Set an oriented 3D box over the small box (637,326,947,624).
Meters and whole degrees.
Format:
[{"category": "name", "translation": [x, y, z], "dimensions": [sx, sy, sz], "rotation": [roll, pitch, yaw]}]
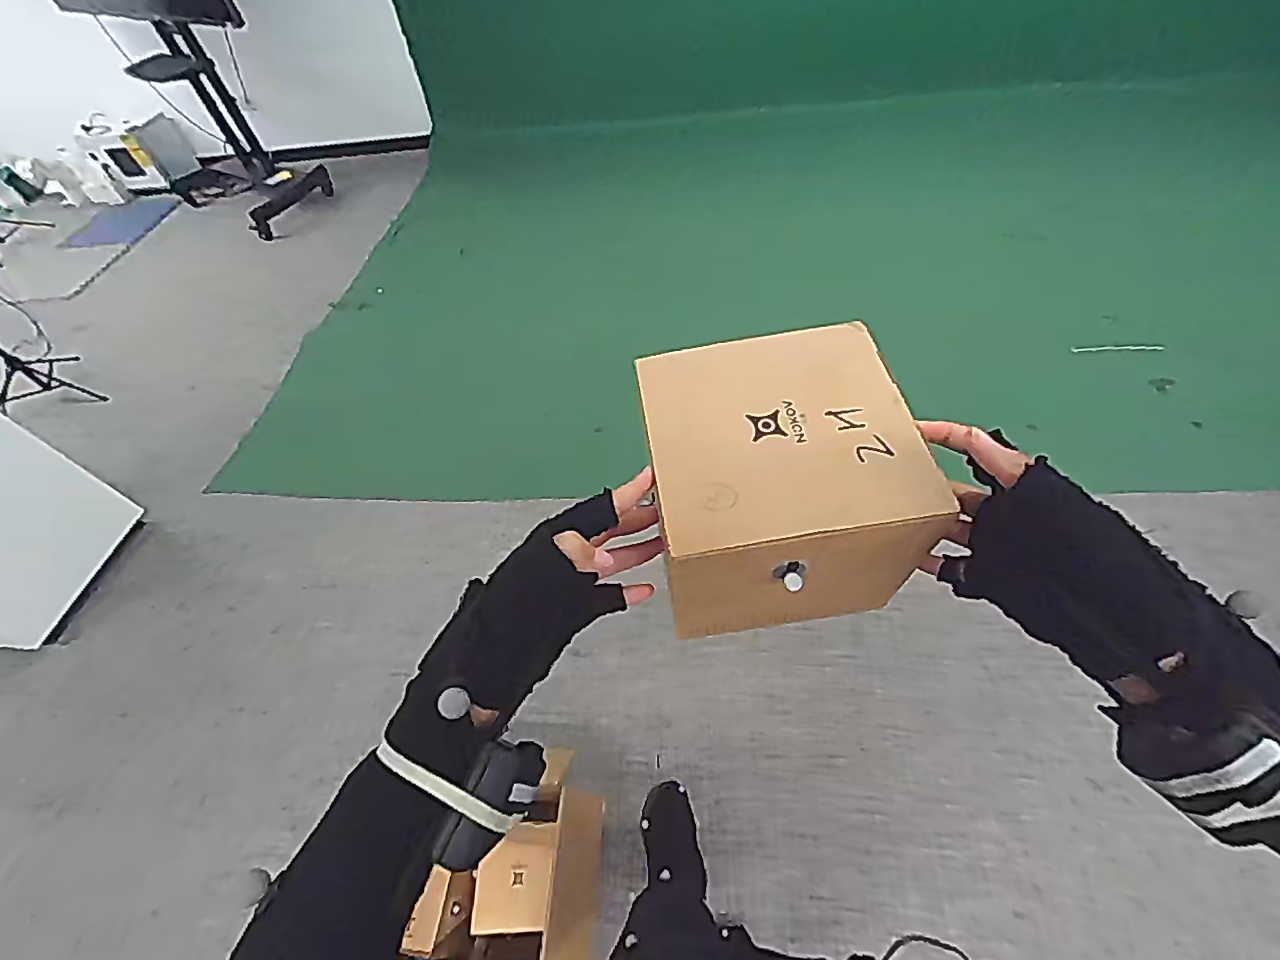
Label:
[{"category": "small box", "translation": [0.100, 0.006, 0.437], "dimensions": [0.179, 0.176, 0.168], "rotation": [-8, 58, 0]}]
